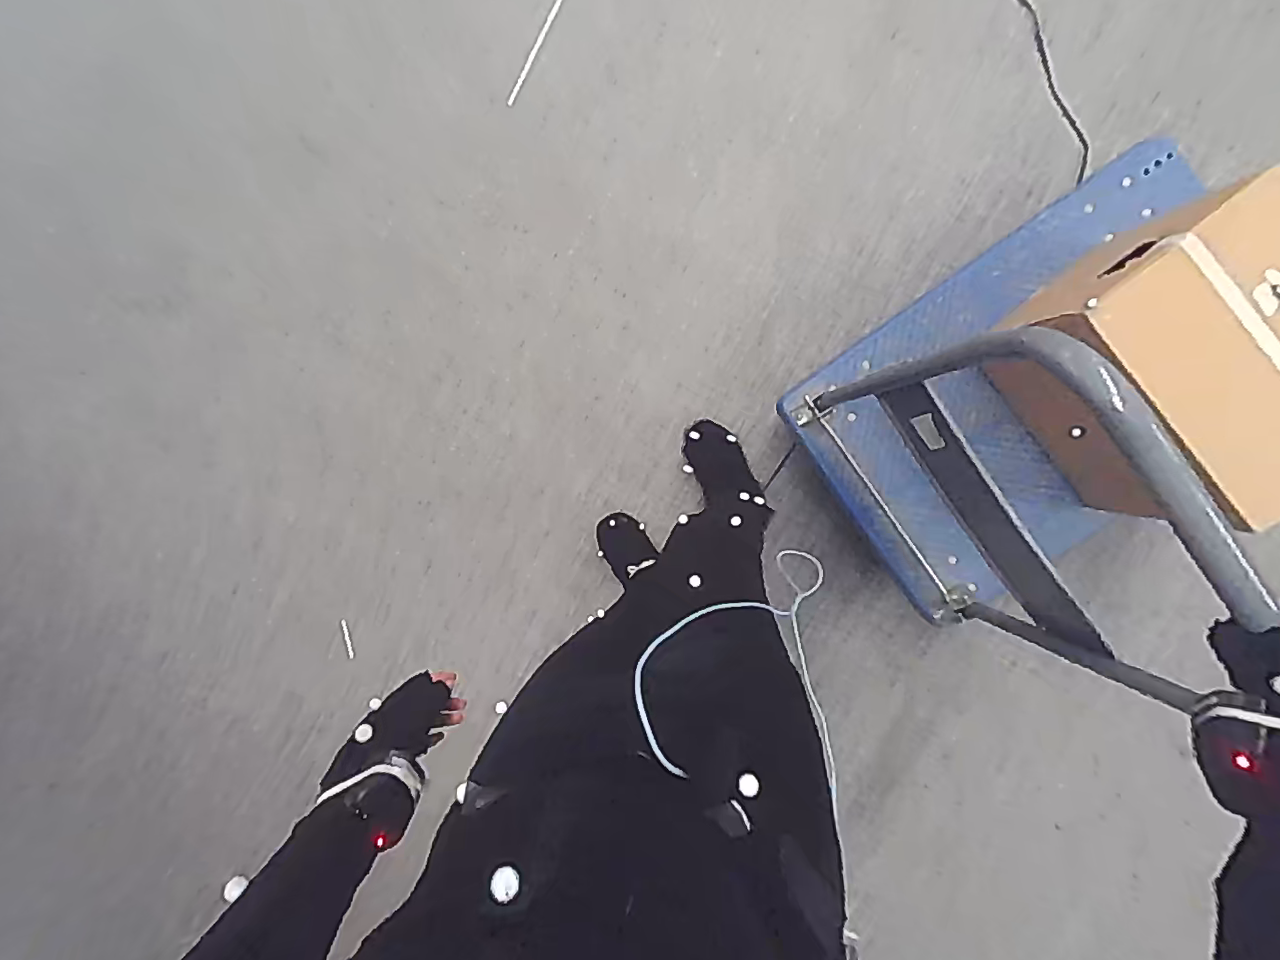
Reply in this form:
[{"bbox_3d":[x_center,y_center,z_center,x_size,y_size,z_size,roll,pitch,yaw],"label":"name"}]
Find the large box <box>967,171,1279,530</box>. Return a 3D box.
[{"bbox_3d":[0.859,-0.182,0.891,0.320,0.320,0.408,-39,91,4],"label":"large box"}]
